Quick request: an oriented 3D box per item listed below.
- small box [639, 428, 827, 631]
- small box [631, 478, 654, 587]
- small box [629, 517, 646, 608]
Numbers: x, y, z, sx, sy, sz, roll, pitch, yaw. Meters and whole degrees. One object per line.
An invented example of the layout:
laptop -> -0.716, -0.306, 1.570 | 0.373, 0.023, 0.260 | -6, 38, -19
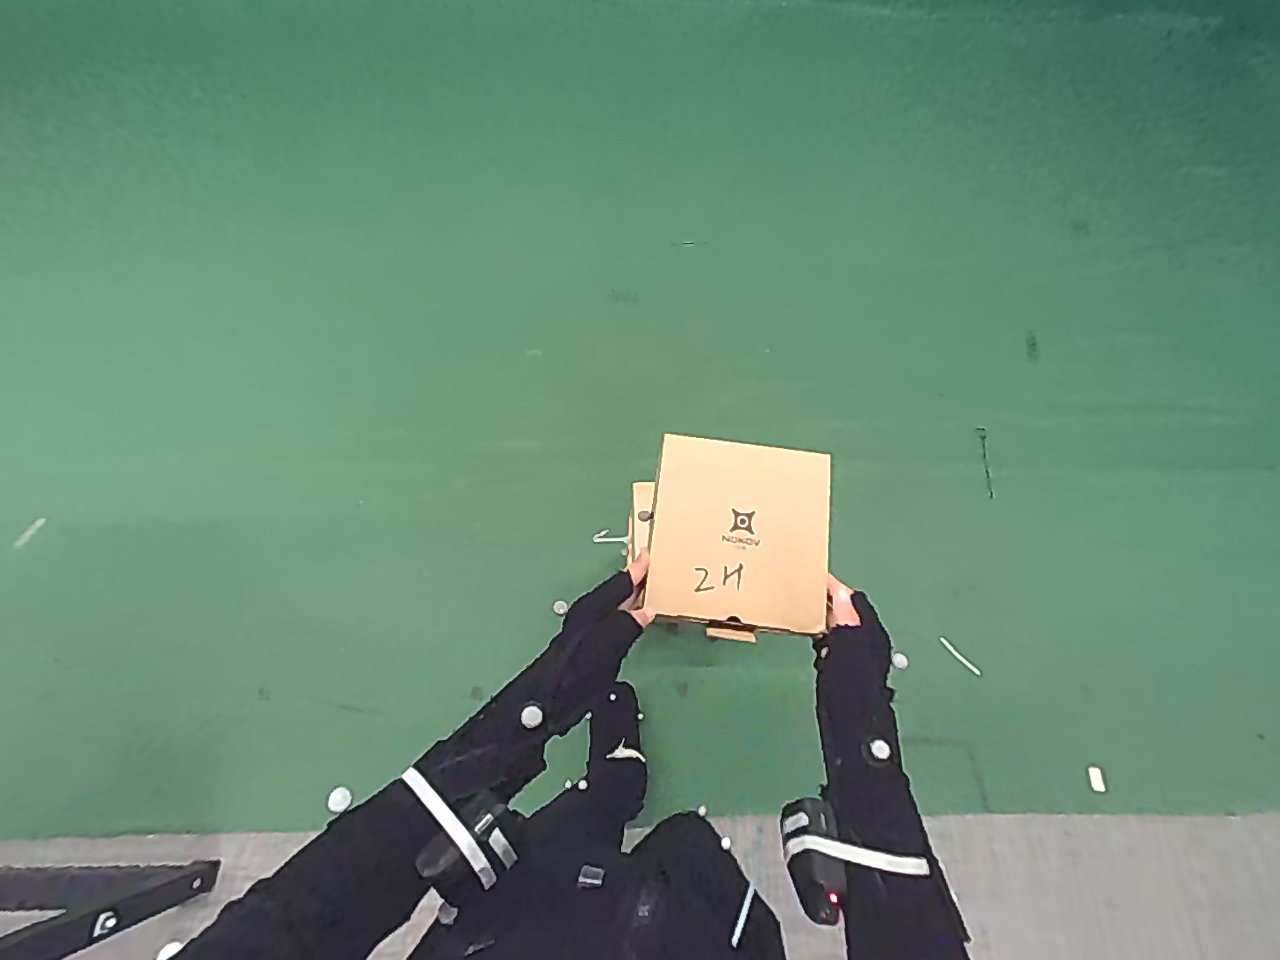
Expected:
small box -> 0.090, 0.063, 0.585 | 0.168, 0.176, 0.179 | 7, 75, 2
small box -> 0.076, 0.108, 1.012 | 0.179, 0.176, 0.168 | 2, 66, -1
small box -> 0.065, 0.182, 1.162 | 0.179, 0.176, 0.168 | 0, 68, -2
